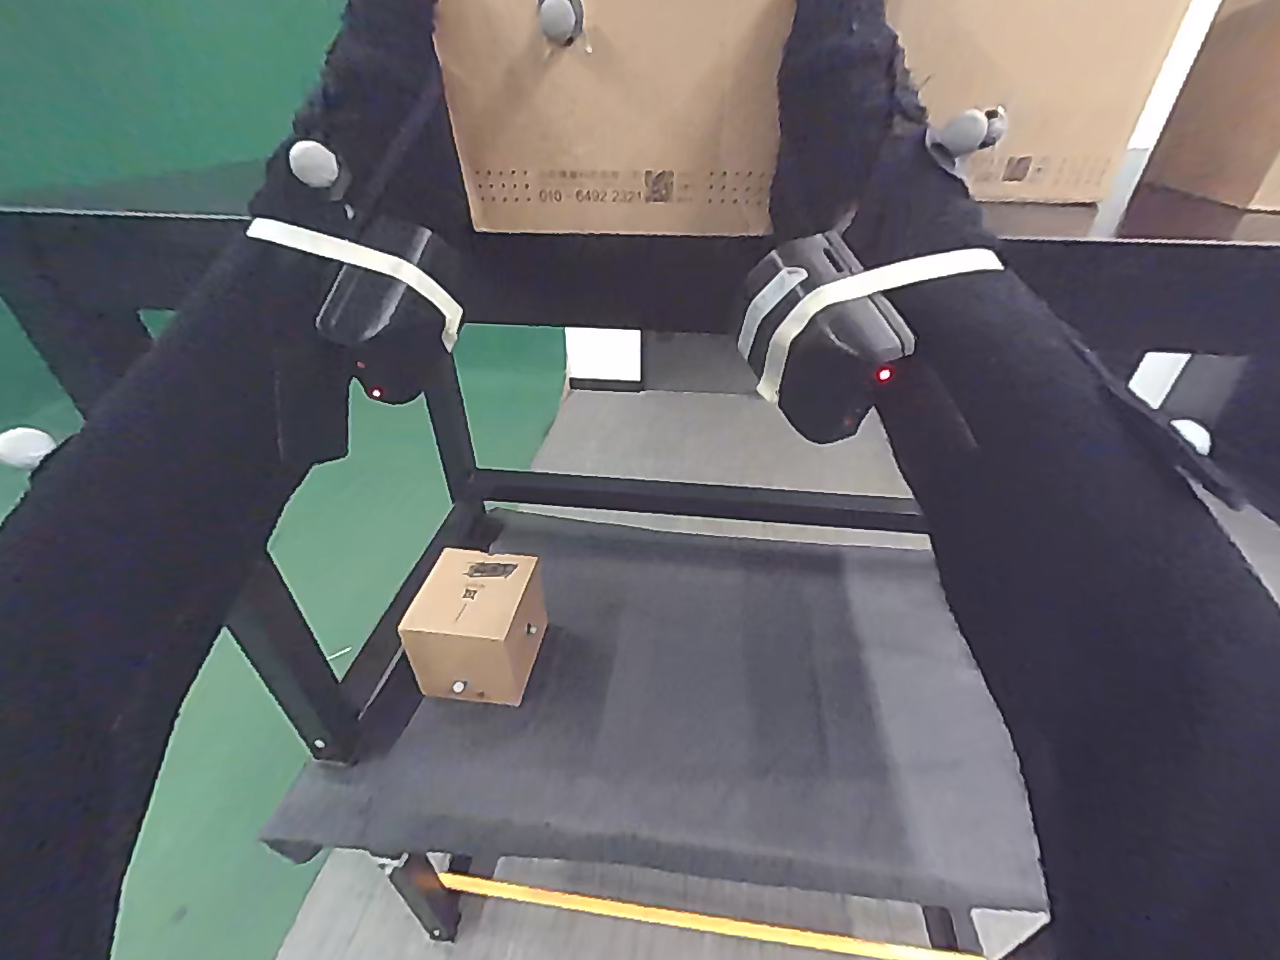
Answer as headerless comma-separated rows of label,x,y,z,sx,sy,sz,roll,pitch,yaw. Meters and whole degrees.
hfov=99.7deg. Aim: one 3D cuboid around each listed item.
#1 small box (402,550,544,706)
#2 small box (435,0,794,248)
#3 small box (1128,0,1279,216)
small box,-0.262,0.242,0.899,0.168,0.176,0.179,4,35,6
small box,-0.004,-0.246,0.315,0.168,0.176,0.179,3,41,4
small box,0.481,-0.267,0.352,0.168,0.176,0.179,11,36,15
